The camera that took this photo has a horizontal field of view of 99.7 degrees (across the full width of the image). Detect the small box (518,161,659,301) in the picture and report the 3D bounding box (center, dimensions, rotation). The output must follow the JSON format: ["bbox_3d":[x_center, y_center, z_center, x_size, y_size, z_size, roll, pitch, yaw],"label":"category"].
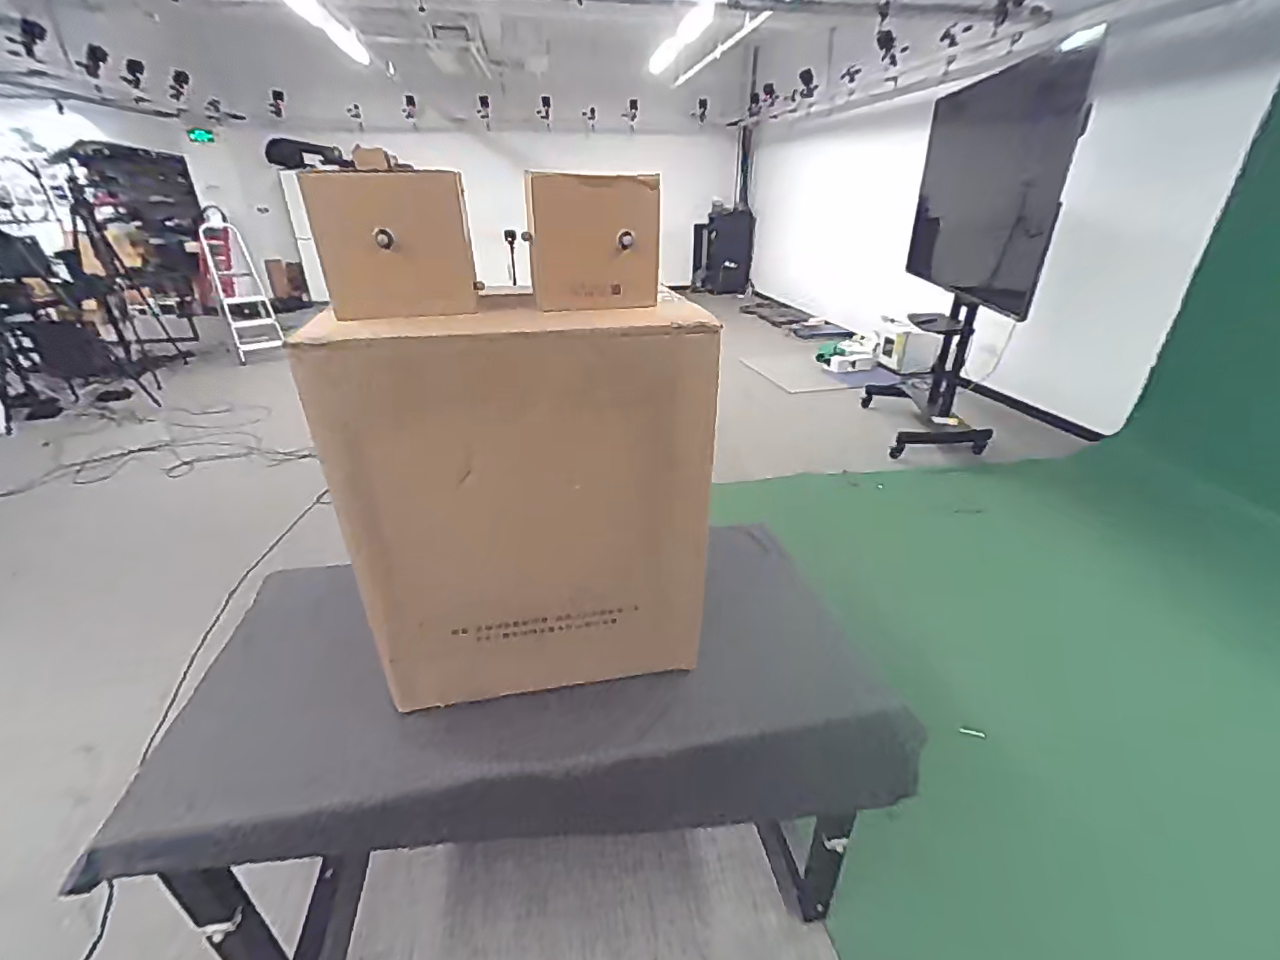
[{"bbox_3d":[-0.076,-0.357,0.775,0.168,0.176,0.179,-9,32,-15],"label":"small box"}]

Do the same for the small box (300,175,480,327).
[{"bbox_3d":[-0.319,-0.315,0.737,0.179,0.176,0.168,-8,30,-11],"label":"small box"}]
